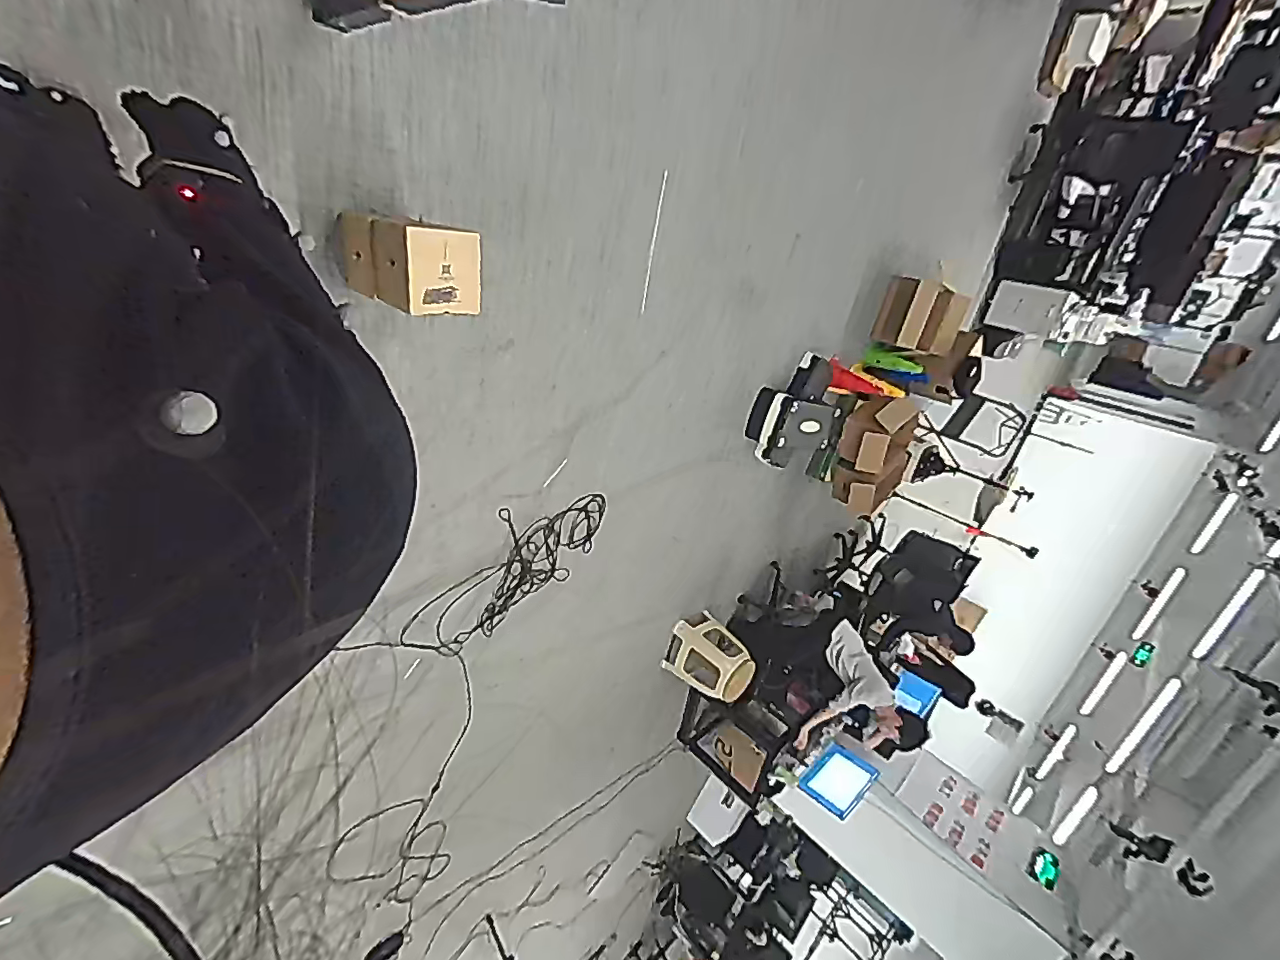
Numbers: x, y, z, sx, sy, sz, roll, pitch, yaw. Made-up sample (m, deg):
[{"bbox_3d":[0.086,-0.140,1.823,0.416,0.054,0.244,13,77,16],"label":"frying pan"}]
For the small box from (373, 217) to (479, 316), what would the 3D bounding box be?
[{"bbox_3d":[-0.475,-0.472,1.201,0.168,0.176,0.179,-16,125,-42],"label":"small box"}]
